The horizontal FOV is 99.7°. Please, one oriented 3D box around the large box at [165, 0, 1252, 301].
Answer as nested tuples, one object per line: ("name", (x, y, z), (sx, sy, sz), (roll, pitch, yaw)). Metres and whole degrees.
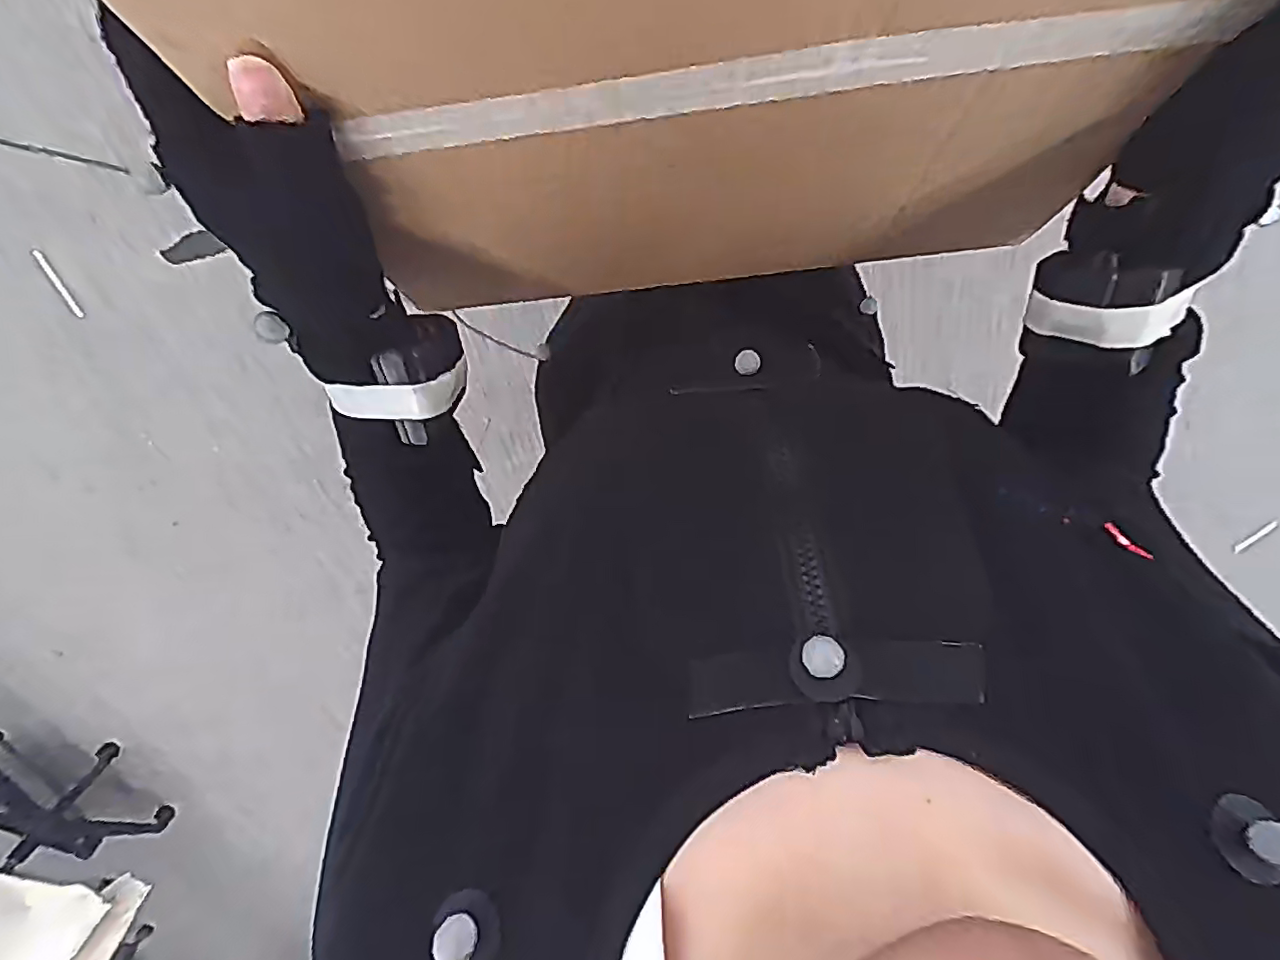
("large box", (0.026, -0.317, 0.243), (0.408, 0.320, 0.320), (-6, 82, 2))
